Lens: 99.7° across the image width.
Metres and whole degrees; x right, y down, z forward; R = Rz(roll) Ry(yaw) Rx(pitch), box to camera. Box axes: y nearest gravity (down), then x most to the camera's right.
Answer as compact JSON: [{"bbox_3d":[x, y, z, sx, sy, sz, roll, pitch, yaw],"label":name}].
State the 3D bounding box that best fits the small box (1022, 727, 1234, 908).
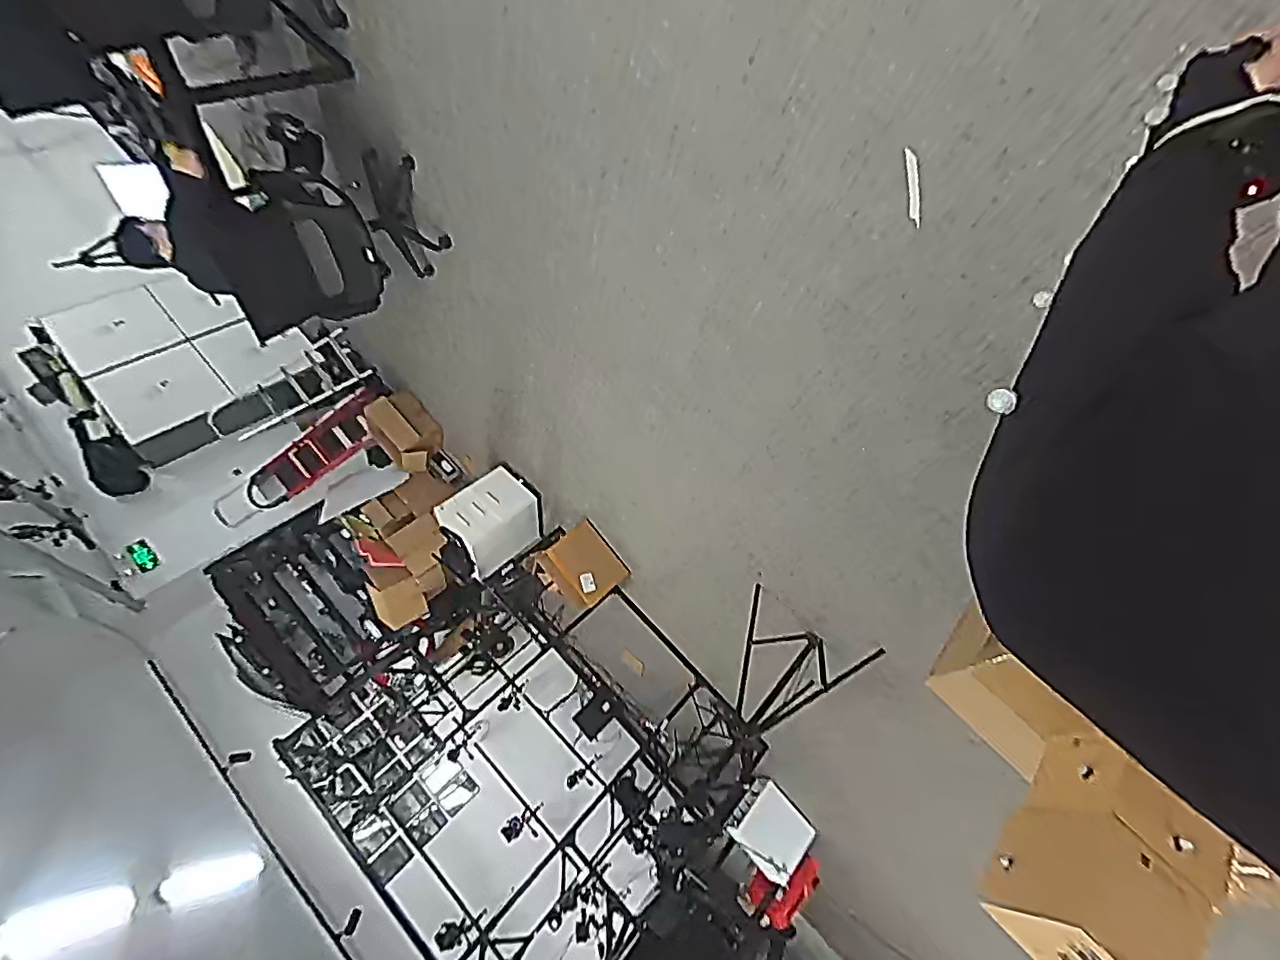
[{"bbox_3d":[0.763,0.514,0.852,0.179,0.176,0.168,43,149,12],"label":"small box"}]
